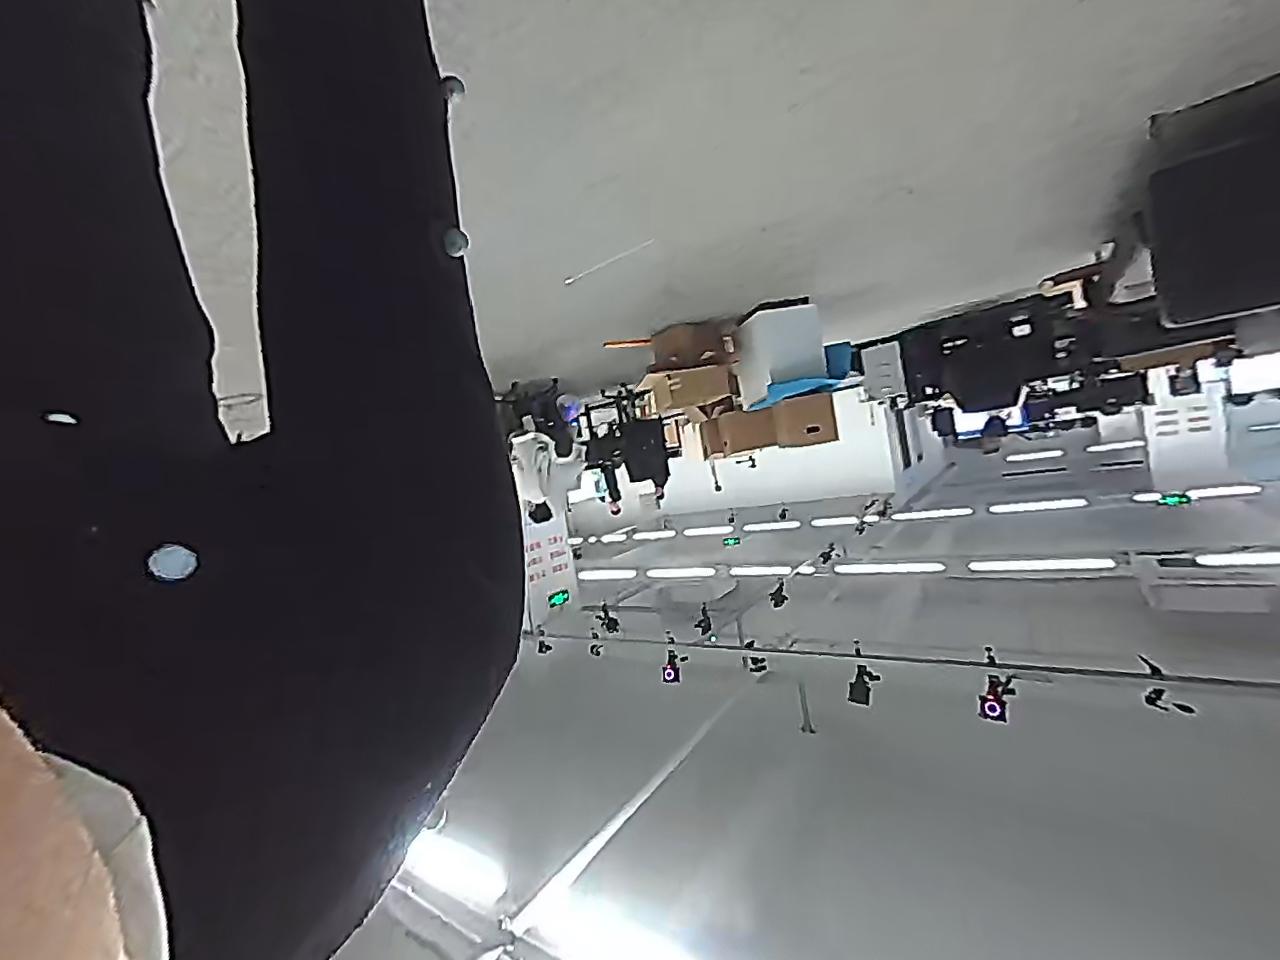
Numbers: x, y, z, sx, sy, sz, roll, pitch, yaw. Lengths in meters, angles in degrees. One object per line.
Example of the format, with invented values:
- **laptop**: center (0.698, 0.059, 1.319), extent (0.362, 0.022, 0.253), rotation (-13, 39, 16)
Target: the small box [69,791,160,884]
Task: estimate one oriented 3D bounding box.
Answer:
- **small box**: center (-1.699, 1.144, 1.745), extent (0.179, 0.176, 0.168), rotation (-6, -176, 33)
